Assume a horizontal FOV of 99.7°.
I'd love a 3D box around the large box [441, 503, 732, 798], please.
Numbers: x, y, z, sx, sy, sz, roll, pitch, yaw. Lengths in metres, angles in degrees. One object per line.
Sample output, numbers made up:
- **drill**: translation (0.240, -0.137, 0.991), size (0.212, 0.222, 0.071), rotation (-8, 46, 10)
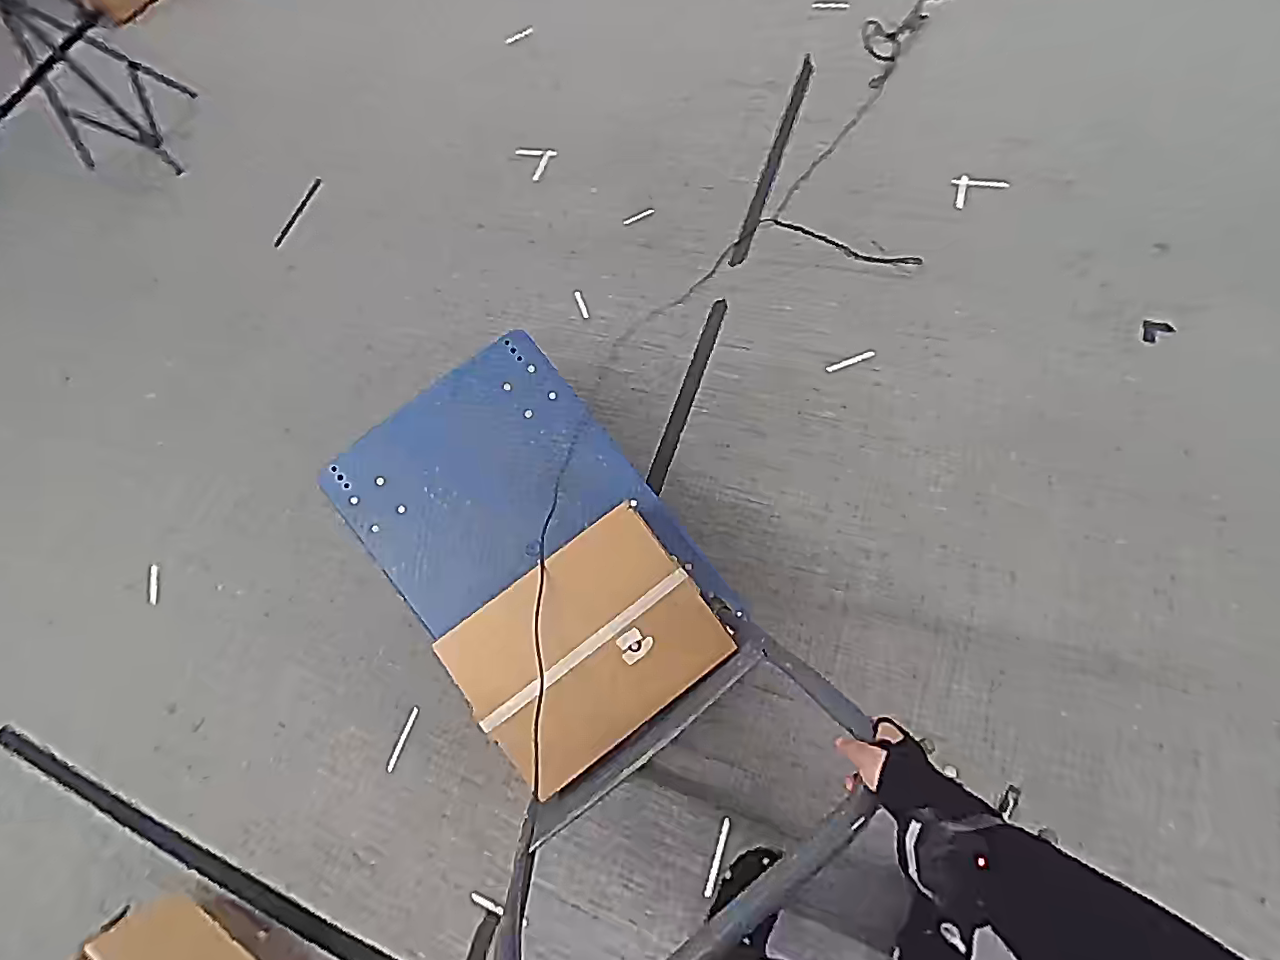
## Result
- **large box**: translation (-0.095, 0.298, 1.053), size (0.408, 0.320, 0.320), rotation (-37, 87, -7)
